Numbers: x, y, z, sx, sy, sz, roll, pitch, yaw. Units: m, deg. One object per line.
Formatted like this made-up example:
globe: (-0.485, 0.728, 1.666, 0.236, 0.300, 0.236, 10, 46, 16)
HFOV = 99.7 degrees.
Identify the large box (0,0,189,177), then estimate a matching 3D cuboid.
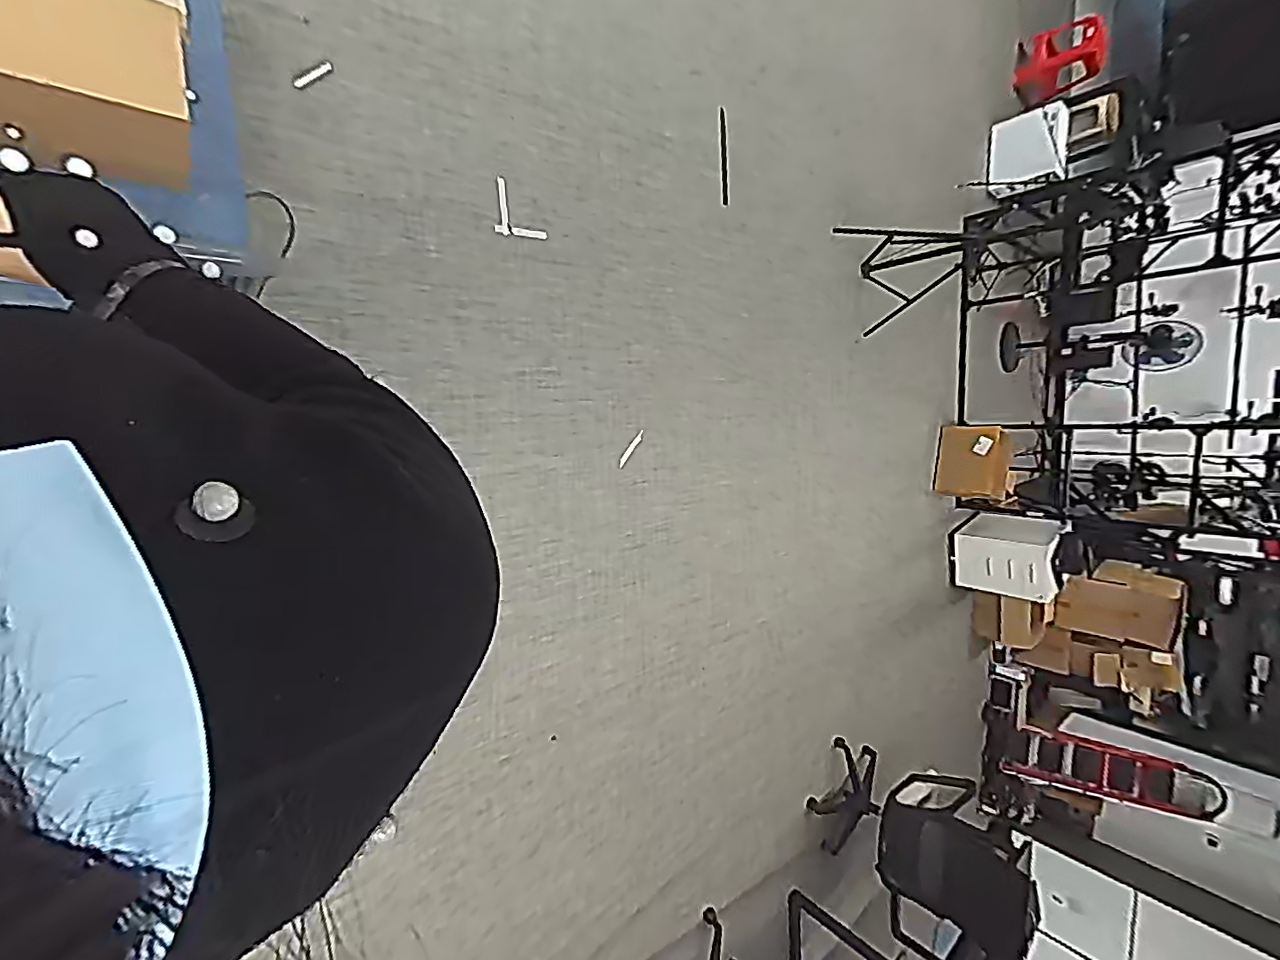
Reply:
large box: (-0.917, -0.680, 0.762, 0.408, 0.320, 0.320, -7, 98, -39)
